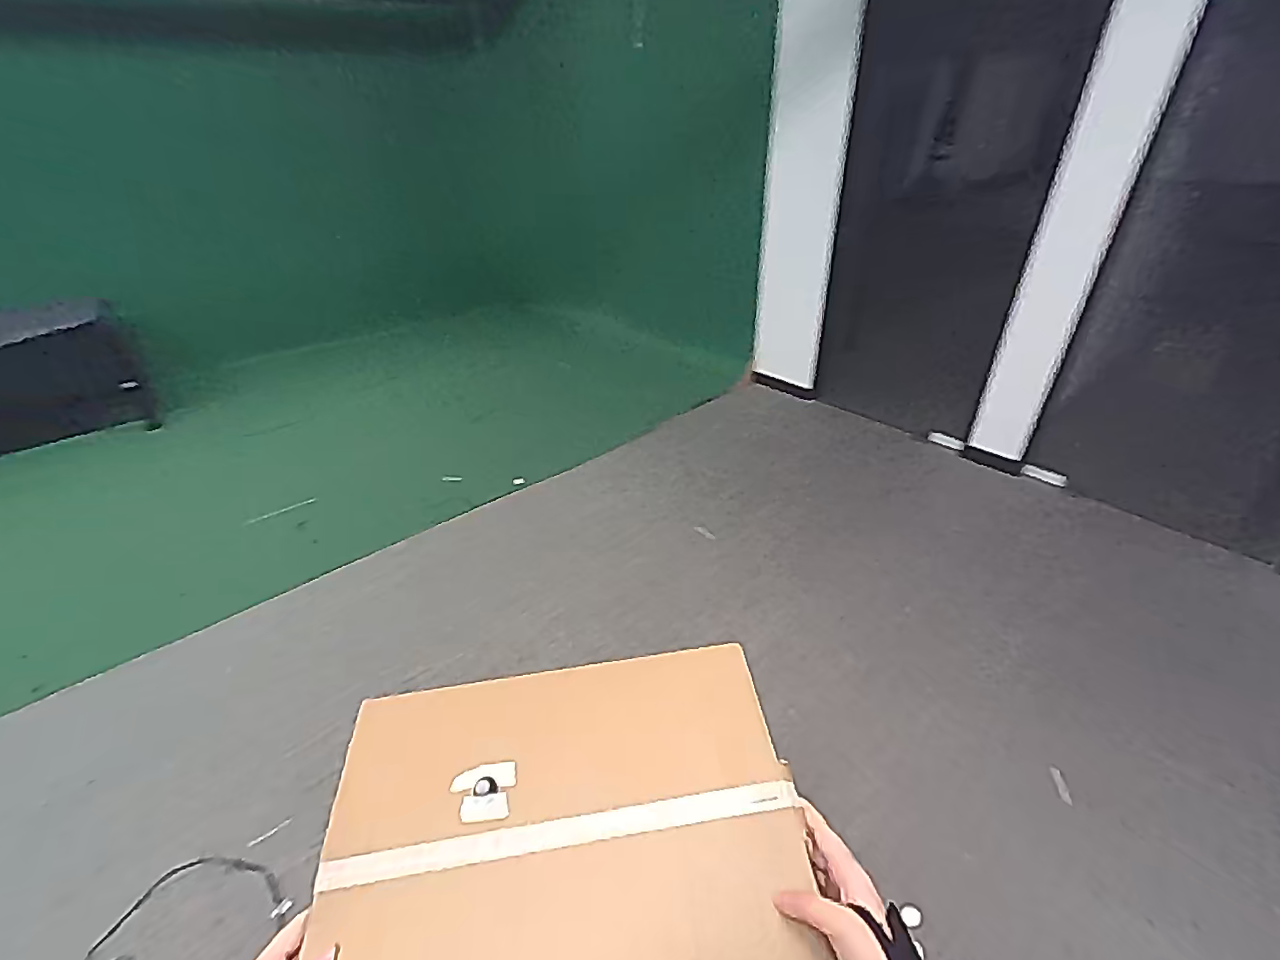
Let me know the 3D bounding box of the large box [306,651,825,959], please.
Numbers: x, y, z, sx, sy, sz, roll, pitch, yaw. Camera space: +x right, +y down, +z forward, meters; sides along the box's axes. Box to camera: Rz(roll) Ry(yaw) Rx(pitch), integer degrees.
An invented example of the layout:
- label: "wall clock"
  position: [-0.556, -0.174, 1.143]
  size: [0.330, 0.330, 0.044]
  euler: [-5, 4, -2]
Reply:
- label: "large box"
  position: [-0.061, 0.428, 0.571]
  size: [0.408, 0.320, 0.320]
  euler: [-9, 42, -3]
